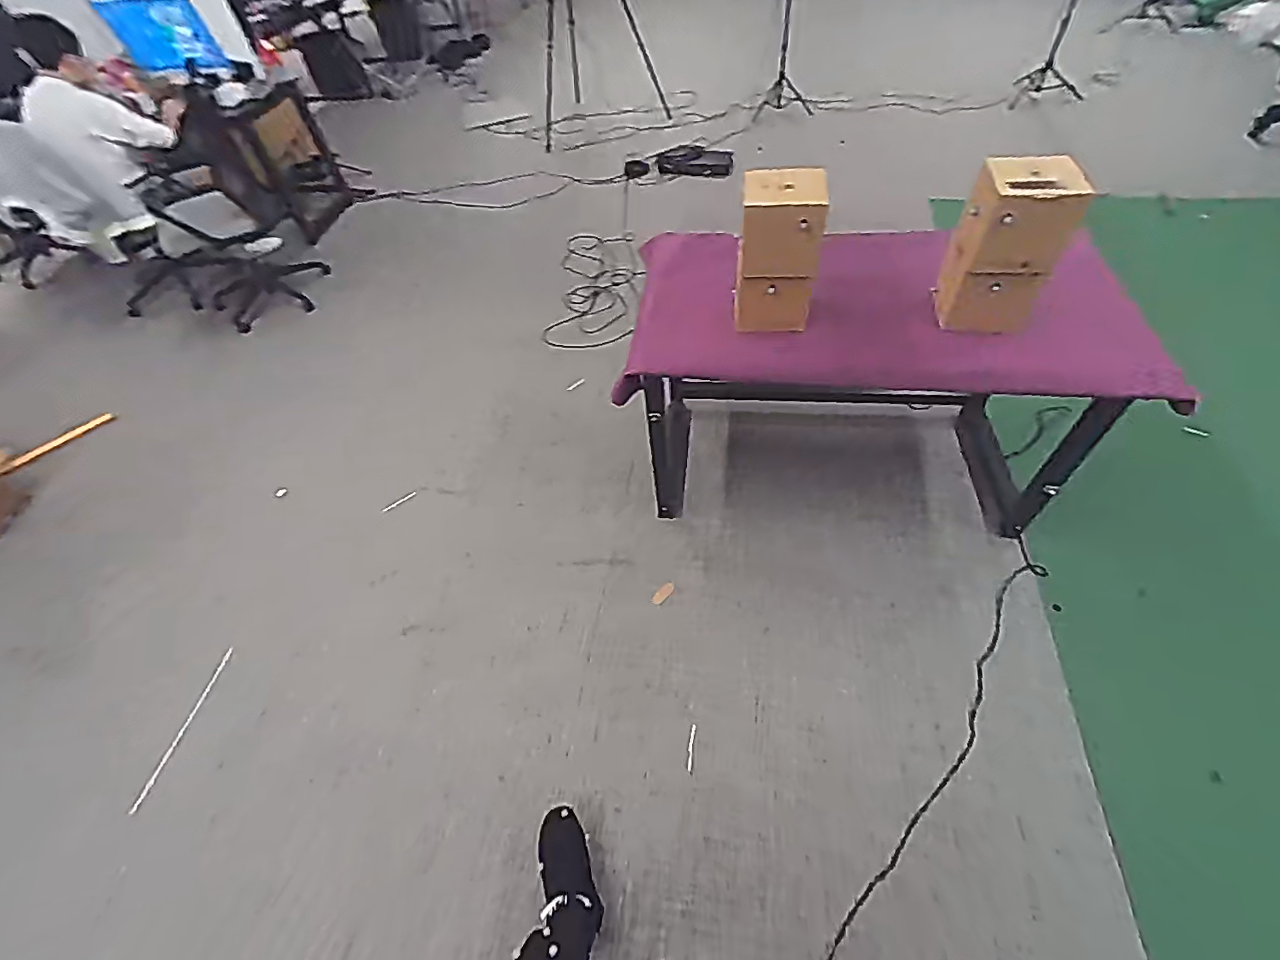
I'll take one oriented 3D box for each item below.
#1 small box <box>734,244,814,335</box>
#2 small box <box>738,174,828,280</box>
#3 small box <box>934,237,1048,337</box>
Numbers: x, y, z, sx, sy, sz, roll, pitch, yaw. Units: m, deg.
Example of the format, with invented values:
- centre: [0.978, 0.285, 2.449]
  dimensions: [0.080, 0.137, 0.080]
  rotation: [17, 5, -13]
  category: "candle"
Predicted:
- centre: [0.334, -0.486, 1.376]
  dimensions: [0.179, 0.176, 0.168]
  rotation: [2, 53, 8]
  category: "small box"
- centre: [0.321, -0.575, 1.236]
  dimensions: [0.179, 0.176, 0.168]
  rotation: [3, 52, 9]
  category: "small box"
- centre: [0.827, -0.463, 1.300]
  dimensions: [0.179, 0.176, 0.168]
  rotation: [6, 53, 10]
  category: "small box"
